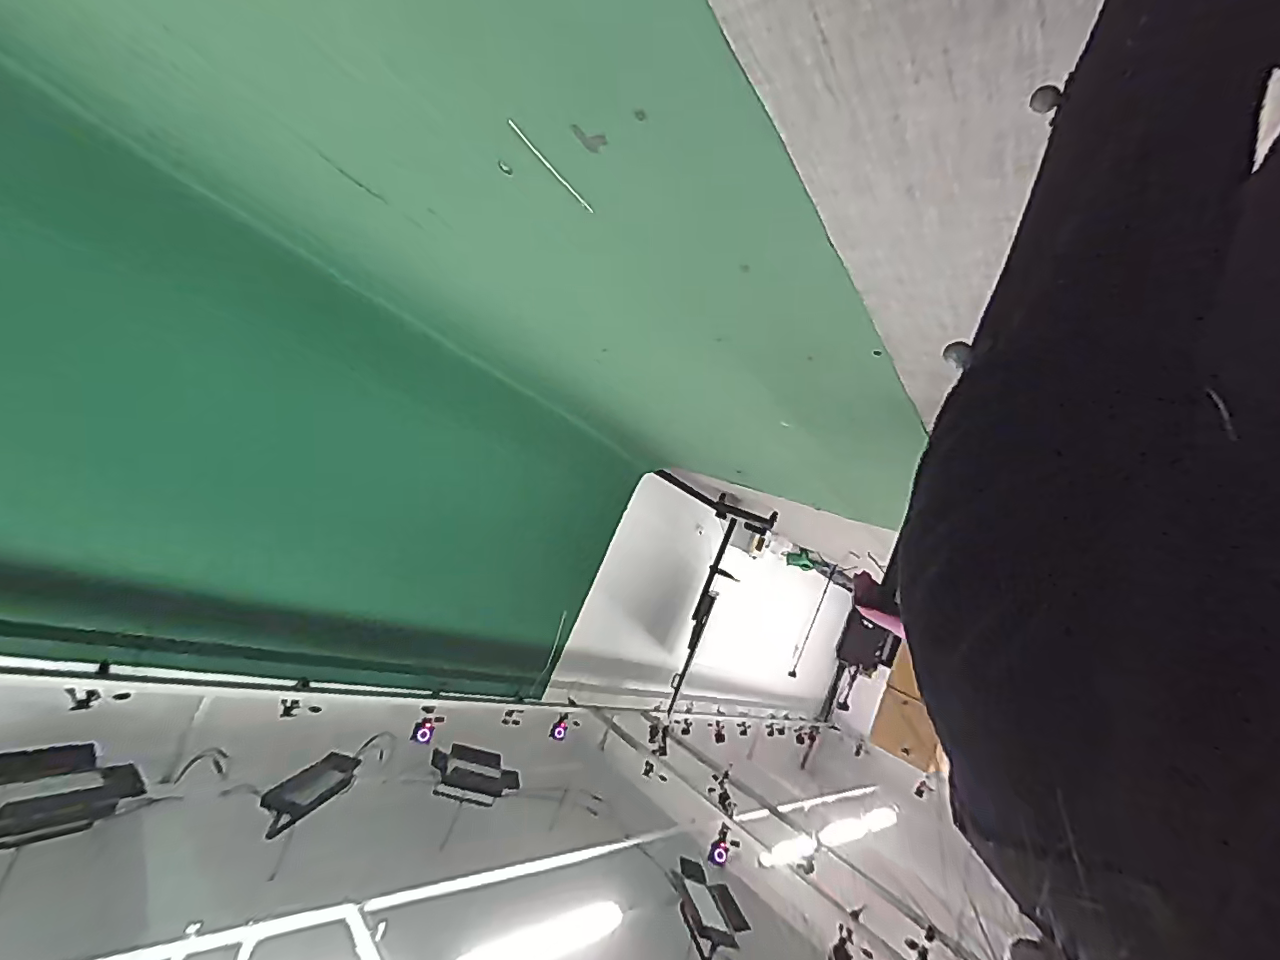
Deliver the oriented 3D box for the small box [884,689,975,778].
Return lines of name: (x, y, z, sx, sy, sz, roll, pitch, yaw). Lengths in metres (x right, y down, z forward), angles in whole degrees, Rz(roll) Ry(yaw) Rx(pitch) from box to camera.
small box: (0.820, 0.706, 1.523, 0.168, 0.176, 0.179, 16, 170, 44)
